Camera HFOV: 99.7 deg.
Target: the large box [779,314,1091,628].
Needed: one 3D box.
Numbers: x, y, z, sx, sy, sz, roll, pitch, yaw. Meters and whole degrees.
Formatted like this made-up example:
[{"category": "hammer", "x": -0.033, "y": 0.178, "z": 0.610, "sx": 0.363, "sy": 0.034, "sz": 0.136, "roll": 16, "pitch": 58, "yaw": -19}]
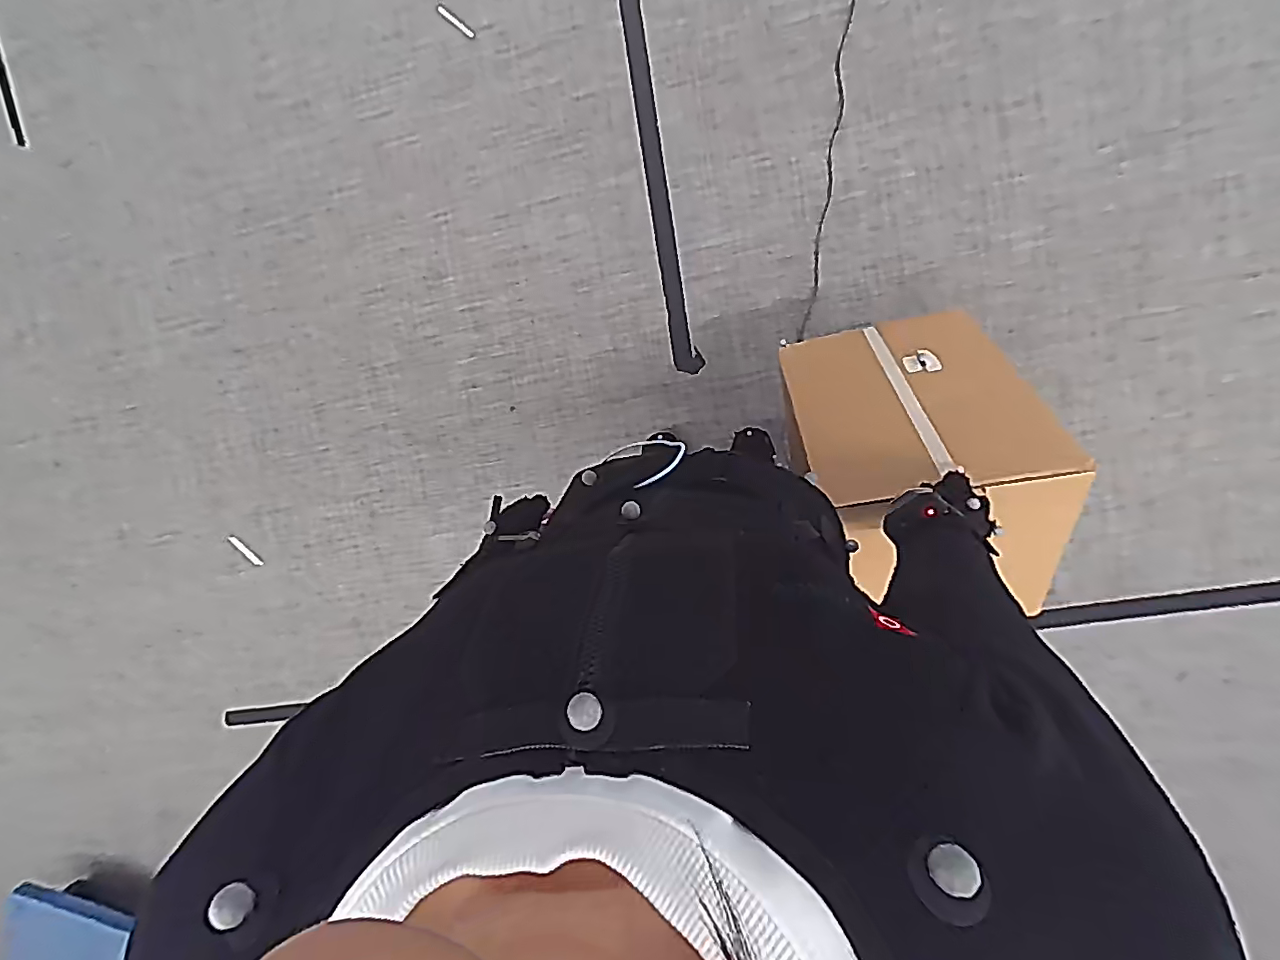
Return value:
[{"category": "large box", "x": 0.437, "y": -0.019, "z": 0.911, "sx": 0.320, "sy": 0.408, "sz": 0.320, "roll": -9, "pitch": 132, "yaw": 11}]
